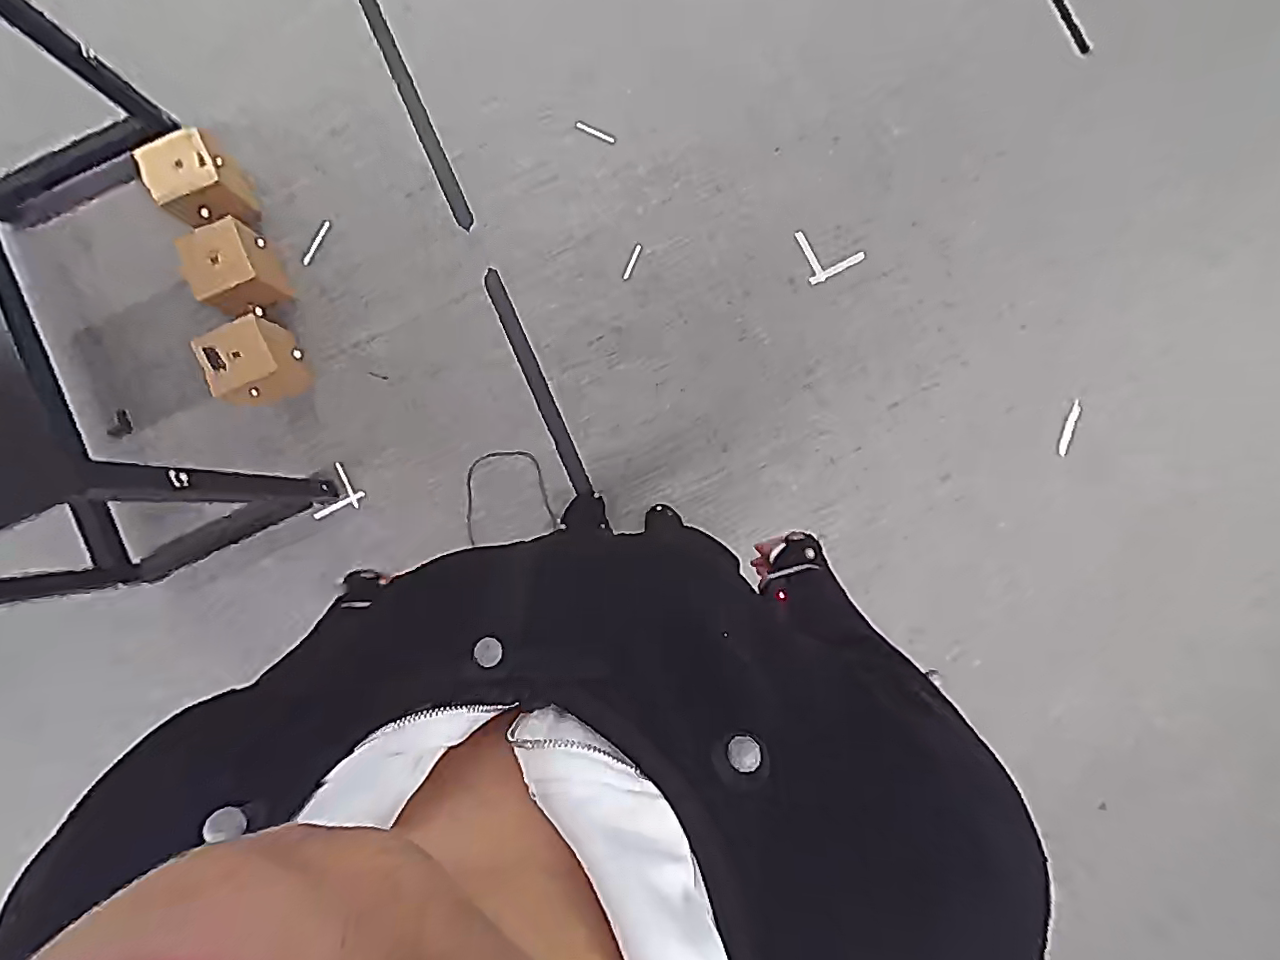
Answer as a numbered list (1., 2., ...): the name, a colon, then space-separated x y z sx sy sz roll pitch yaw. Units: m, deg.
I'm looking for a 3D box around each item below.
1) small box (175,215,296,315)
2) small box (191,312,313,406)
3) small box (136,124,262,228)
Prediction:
1. small box: -1.083 -0.567 1.460 0.168 0.176 0.179 -25 88 0
2. small box: -1.028 -0.315 1.446 0.179 0.176 0.168 -25 88 -2
3. small box: -1.188 -0.807 1.470 0.179 0.176 0.168 -25 88 -1
